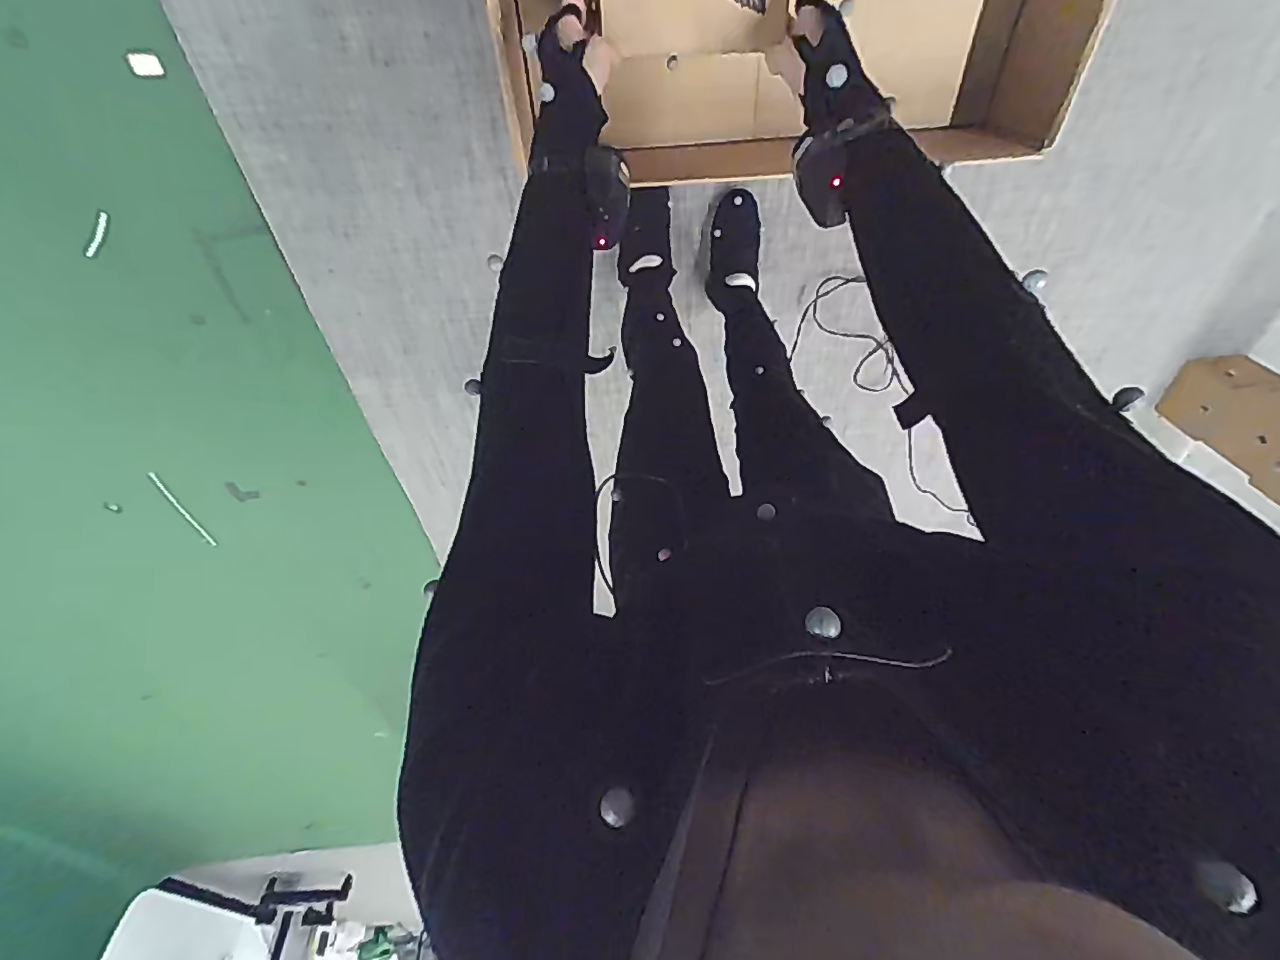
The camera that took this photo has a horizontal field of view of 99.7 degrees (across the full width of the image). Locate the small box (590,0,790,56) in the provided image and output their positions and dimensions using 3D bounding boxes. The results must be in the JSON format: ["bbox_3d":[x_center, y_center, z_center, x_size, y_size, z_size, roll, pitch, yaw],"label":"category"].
[{"bbox_3d":[0.041,-0.514,0.514,0.179,0.176,0.168,-5,130,-4],"label":"small box"}]

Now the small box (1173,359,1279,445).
[{"bbox_3d":[1.652,-0.222,1.492,0.168,0.176,0.179,-6,132,1],"label":"small box"}]
